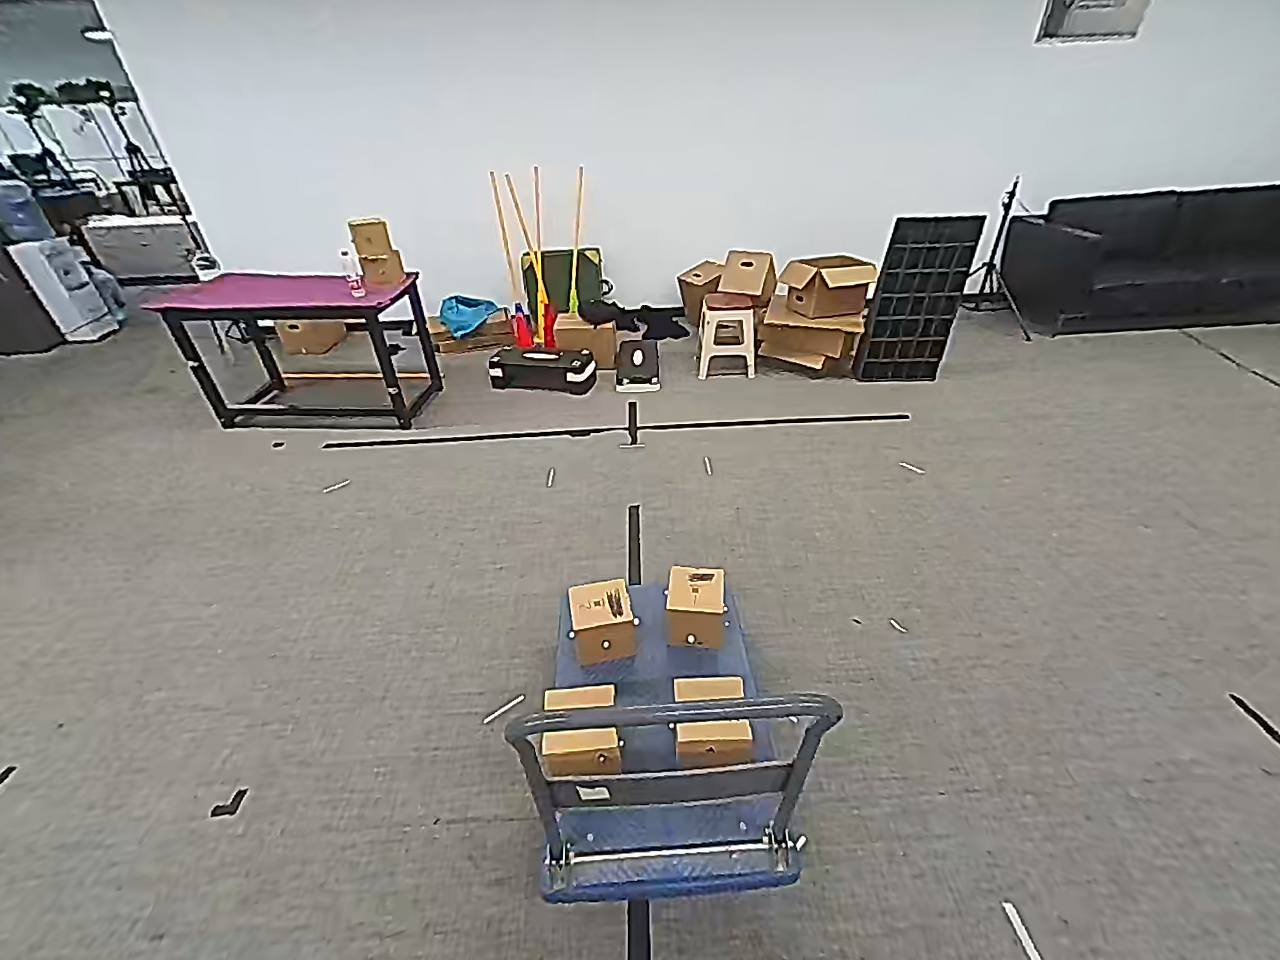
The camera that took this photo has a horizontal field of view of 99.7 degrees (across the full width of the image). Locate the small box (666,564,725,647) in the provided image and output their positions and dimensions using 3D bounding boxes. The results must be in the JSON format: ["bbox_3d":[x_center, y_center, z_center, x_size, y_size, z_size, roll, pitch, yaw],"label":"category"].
[{"bbox_3d":[0.171,0.384,1.661,0.168,0.176,0.179,3,37,7],"label":"small box"}]

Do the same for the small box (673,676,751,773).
[{"bbox_3d":[0.173,0.610,1.348,0.179,0.176,0.168,-1,36,1],"label":"small box"}]

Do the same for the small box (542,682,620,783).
[{"bbox_3d":[-0.143,0.628,1.341,0.179,0.176,0.168,-3,36,-4],"label":"small box"}]
